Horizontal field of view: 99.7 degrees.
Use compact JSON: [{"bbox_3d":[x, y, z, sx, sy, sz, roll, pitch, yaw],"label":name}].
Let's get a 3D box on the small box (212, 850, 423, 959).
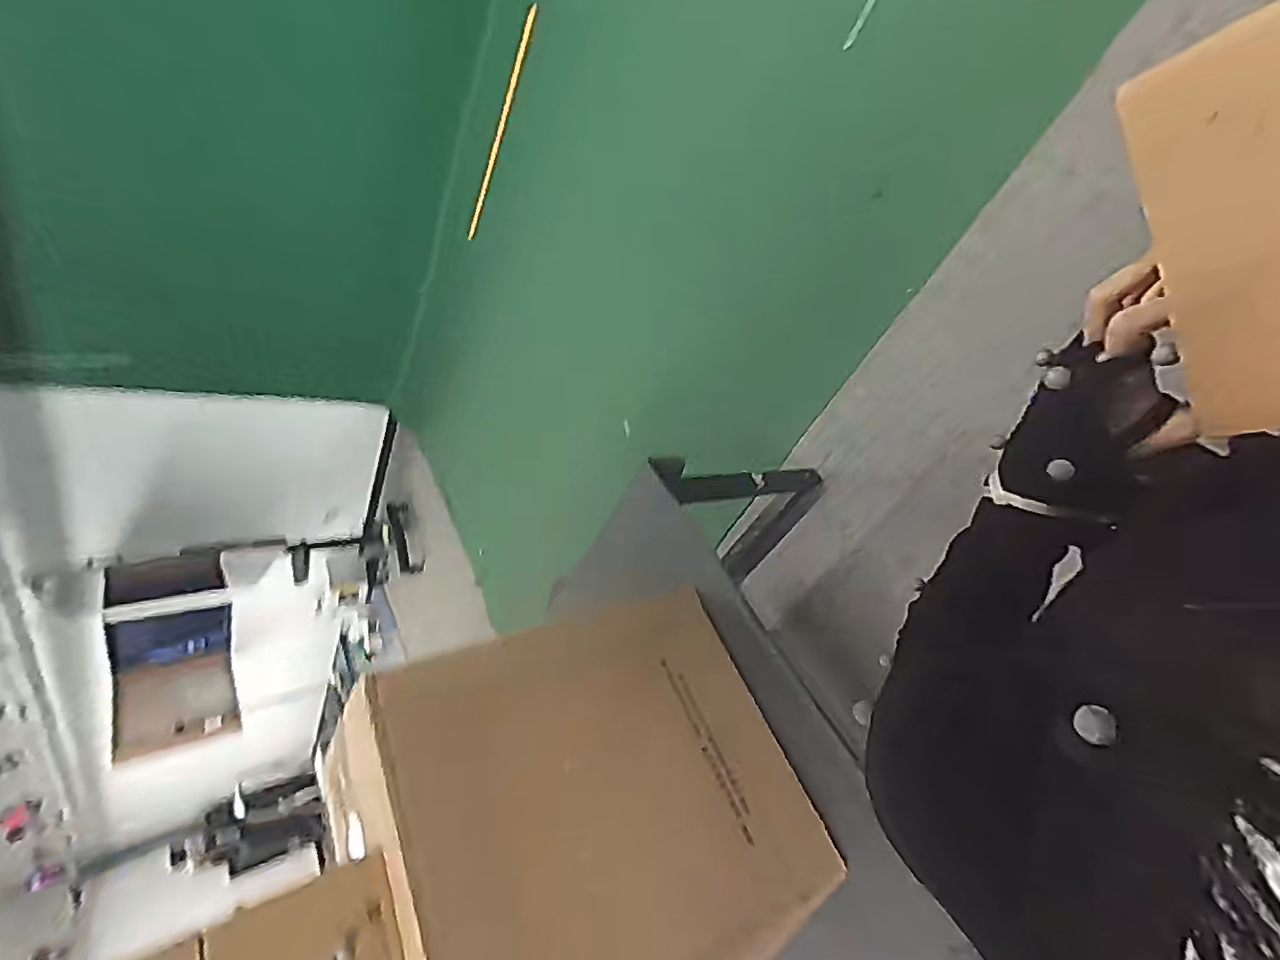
[{"bbox_3d":[-0.348,0.543,0.586,0.179,0.176,0.168,-50,58,35],"label":"small box"}]
